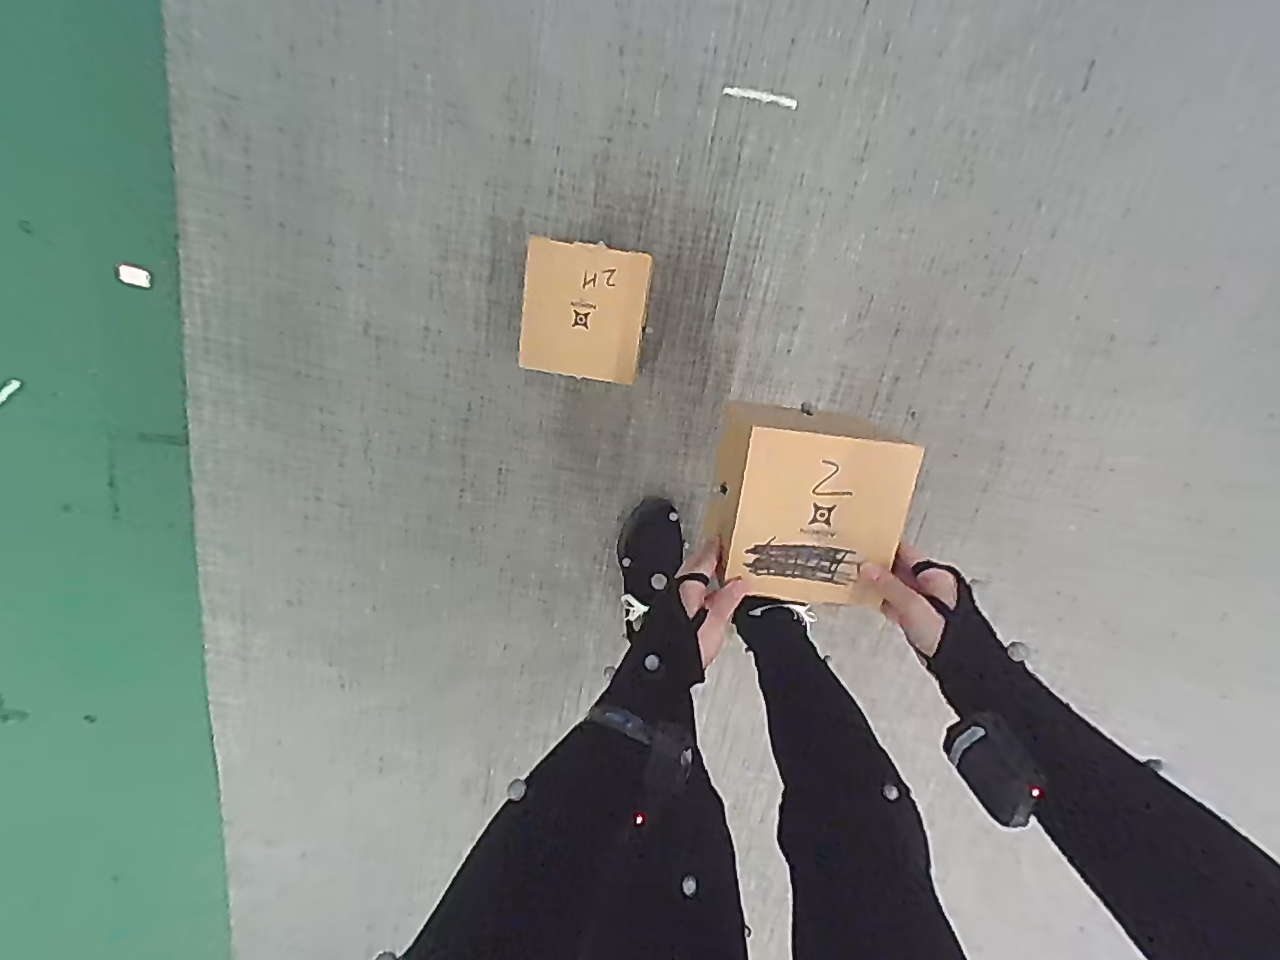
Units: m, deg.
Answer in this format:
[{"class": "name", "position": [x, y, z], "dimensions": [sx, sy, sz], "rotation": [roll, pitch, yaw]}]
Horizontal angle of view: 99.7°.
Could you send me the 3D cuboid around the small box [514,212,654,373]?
[{"class": "small box", "position": [-0.073, -0.268, 0.785], "dimensions": [0.168, 0.176, 0.179], "rotation": [11, 109, -2]}]
